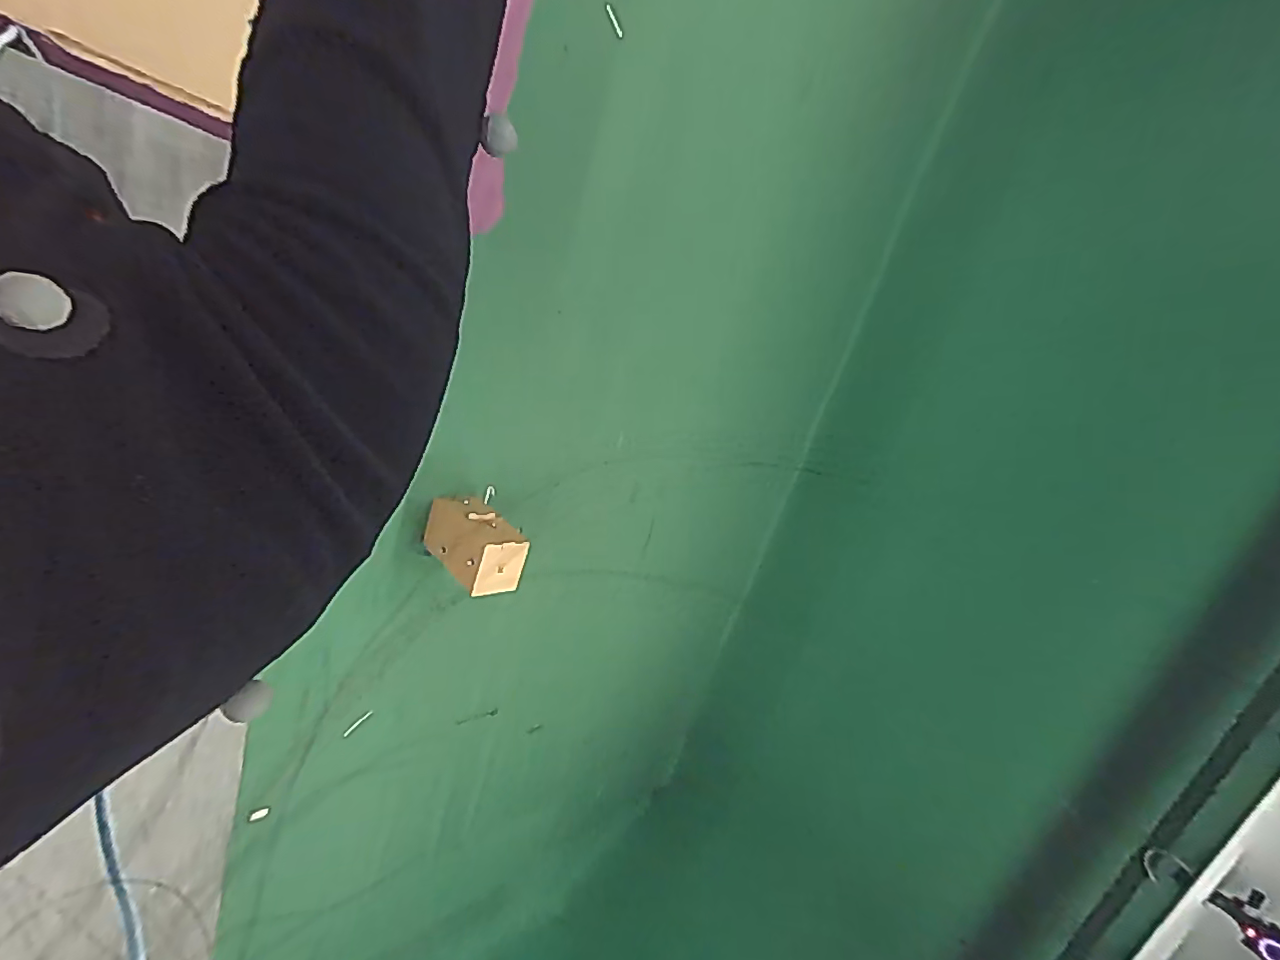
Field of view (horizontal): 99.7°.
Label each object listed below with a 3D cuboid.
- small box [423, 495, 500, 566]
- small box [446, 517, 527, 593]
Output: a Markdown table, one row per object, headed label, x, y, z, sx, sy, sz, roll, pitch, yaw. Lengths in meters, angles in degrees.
| label | x | y | z | sx | sy | sz | roll | pitch | yaw |
| --- | --- | --- | --- | --- | --- | --- | --- | --- | --- |
| small box | -0.599 | 0.166 | 1.803 | 0.168 | 0.176 | 0.179 | 1 | 113 | -51 |
| small box | -0.489 | 0.232 | 1.702 | 0.168 | 0.176 | 0.179 | 3 | 111 | -51 |
